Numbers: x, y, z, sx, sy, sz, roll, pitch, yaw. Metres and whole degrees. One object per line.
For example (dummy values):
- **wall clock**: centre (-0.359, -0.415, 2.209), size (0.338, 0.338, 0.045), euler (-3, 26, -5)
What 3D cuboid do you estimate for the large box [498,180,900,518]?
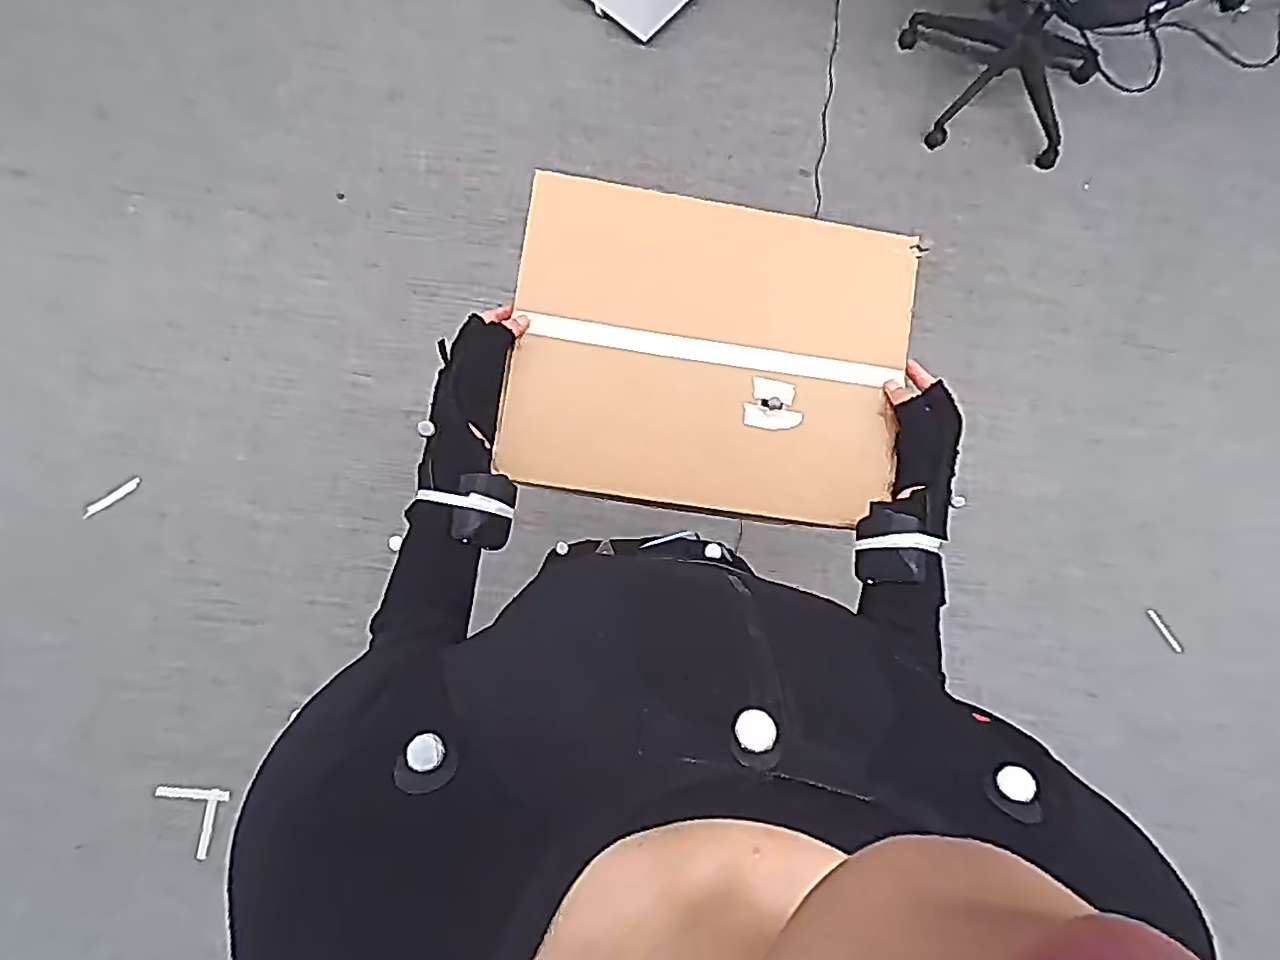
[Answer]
- **large box**: centre (0.055, -0.127, 0.709), size (0.408, 0.320, 0.320), euler (8, 88, -5)
